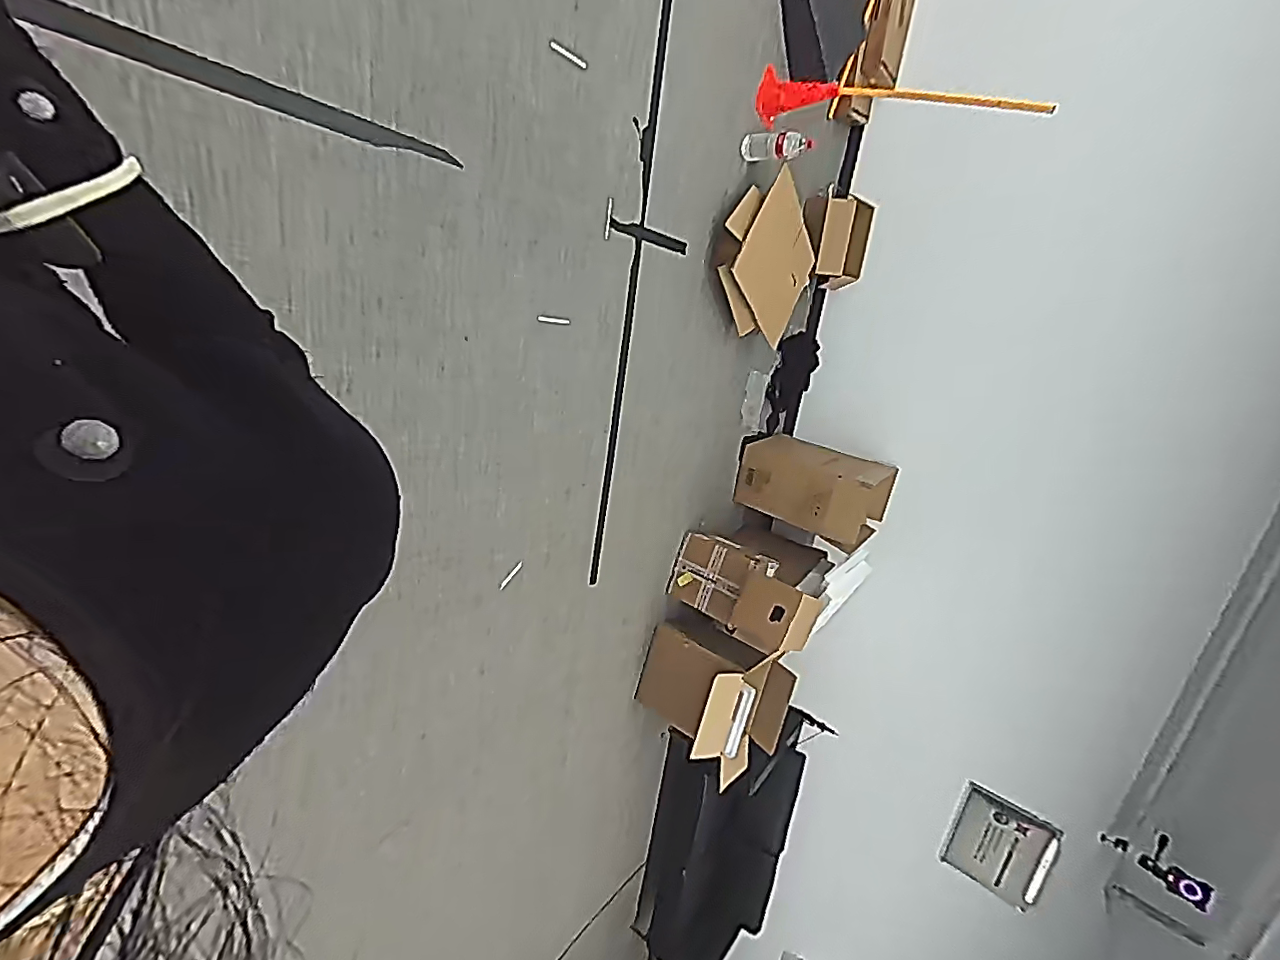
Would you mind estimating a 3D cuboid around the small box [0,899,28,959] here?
[{"bbox_3d":[-1.134,0.852,0.884,0.179,0.176,0.168,-14,117,-49],"label":"small box"}]
